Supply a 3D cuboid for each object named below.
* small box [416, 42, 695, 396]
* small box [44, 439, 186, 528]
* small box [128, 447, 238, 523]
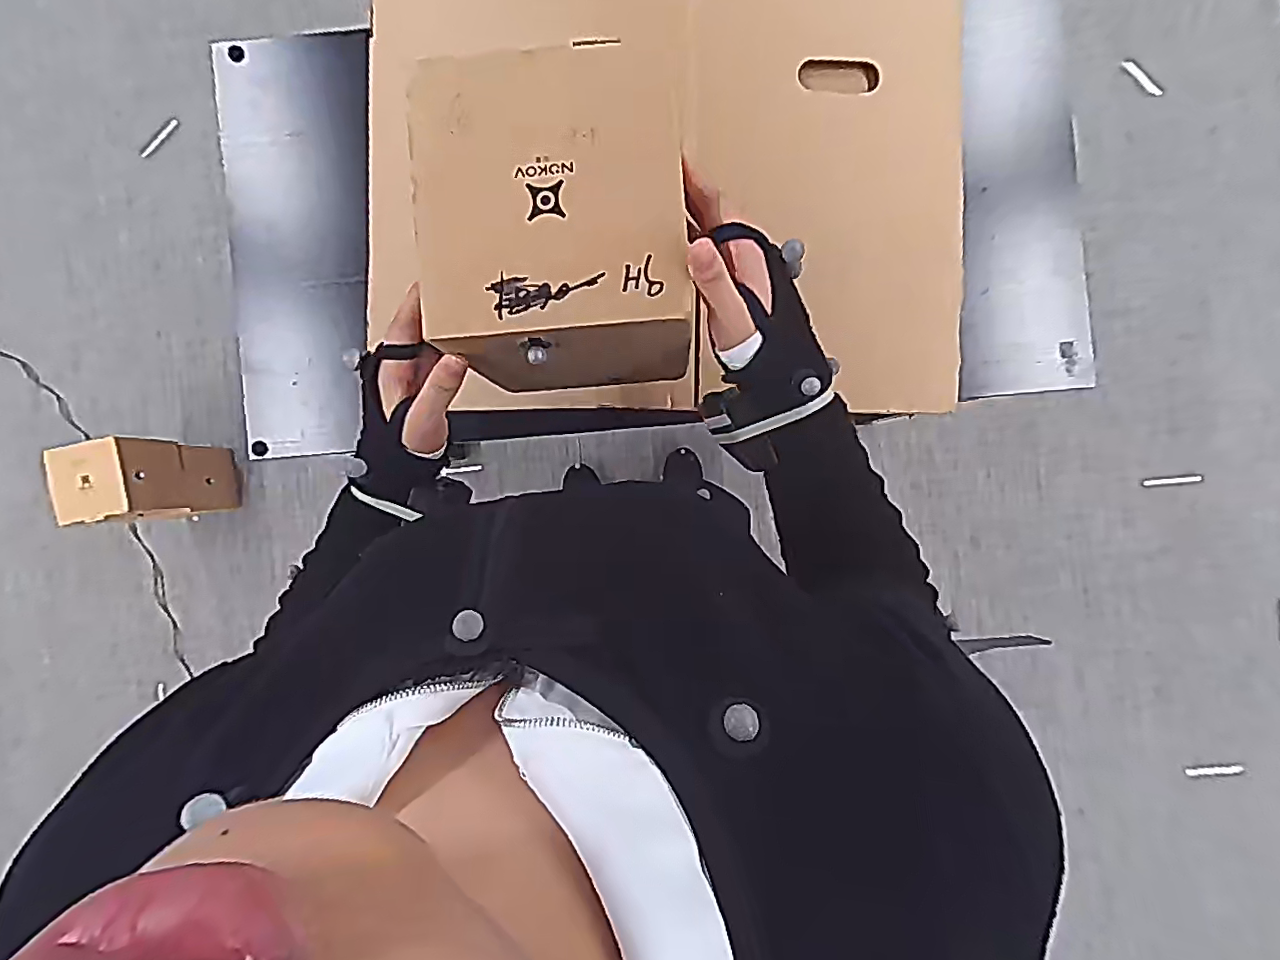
[{"bbox_3d":[-0.049,-0.171,0.406,0.168,0.176,0.179,-4,87,4],"label":"small box"},{"bbox_3d":[-1.227,0.008,1.278,0.168,0.176,0.179,-12,89,0],"label":"small box"},{"bbox_3d":[-1.222,0.013,1.441,0.168,0.176,0.179,-9,91,1],"label":"small box"}]
